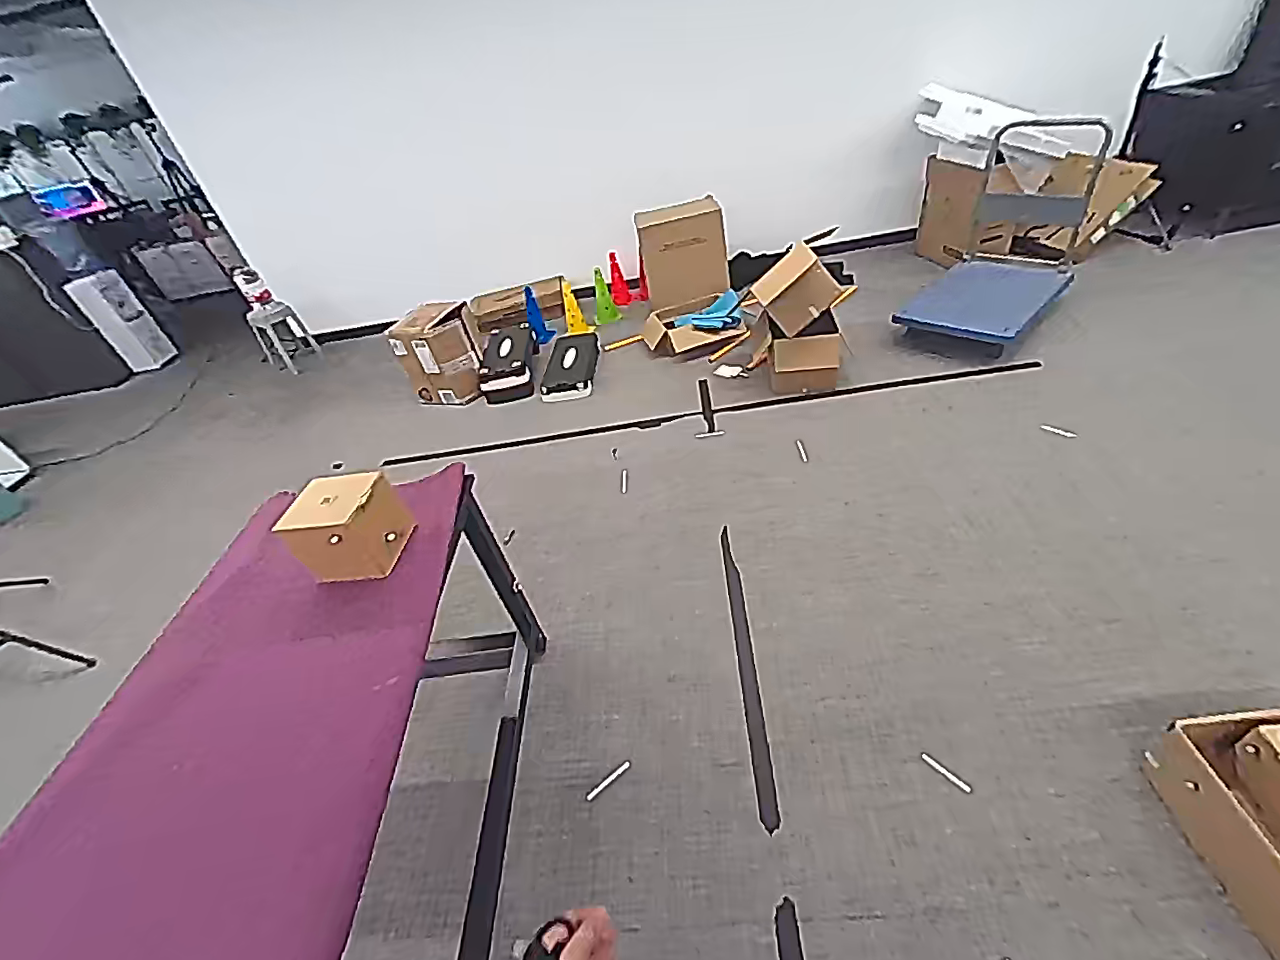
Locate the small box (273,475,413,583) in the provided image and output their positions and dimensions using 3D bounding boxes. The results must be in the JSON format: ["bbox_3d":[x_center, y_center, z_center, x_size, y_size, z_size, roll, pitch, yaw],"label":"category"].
[{"bbox_3d":[-0.636,0.111,1.183,0.179,0.176,0.168,-6,40,10],"label":"small box"}]
